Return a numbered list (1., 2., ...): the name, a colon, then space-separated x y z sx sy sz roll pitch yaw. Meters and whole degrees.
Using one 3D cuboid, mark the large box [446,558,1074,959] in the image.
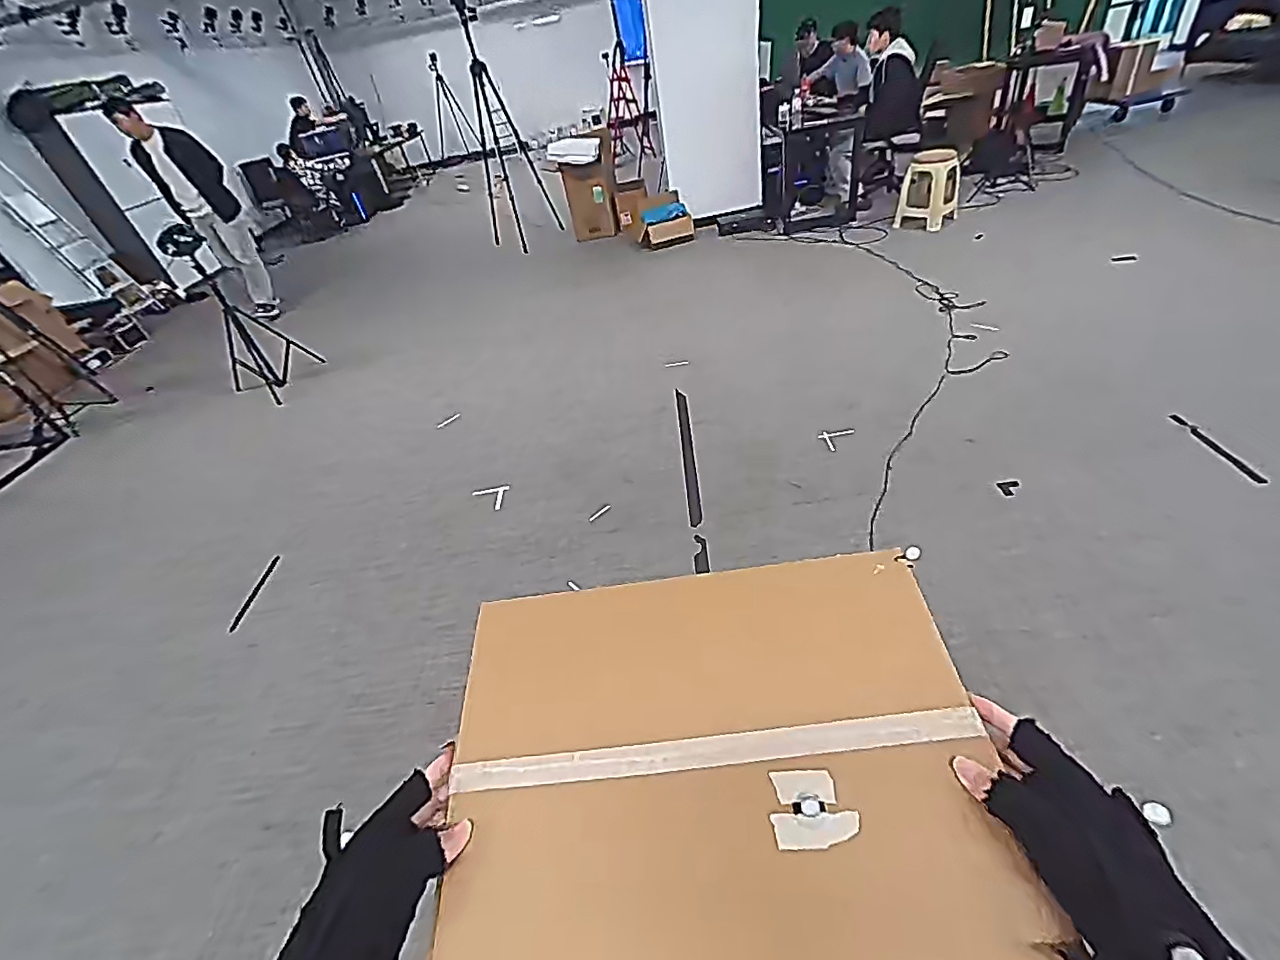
1. large box: 0.078 0.315 0.537 0.408 0.320 0.320 -8 48 5
